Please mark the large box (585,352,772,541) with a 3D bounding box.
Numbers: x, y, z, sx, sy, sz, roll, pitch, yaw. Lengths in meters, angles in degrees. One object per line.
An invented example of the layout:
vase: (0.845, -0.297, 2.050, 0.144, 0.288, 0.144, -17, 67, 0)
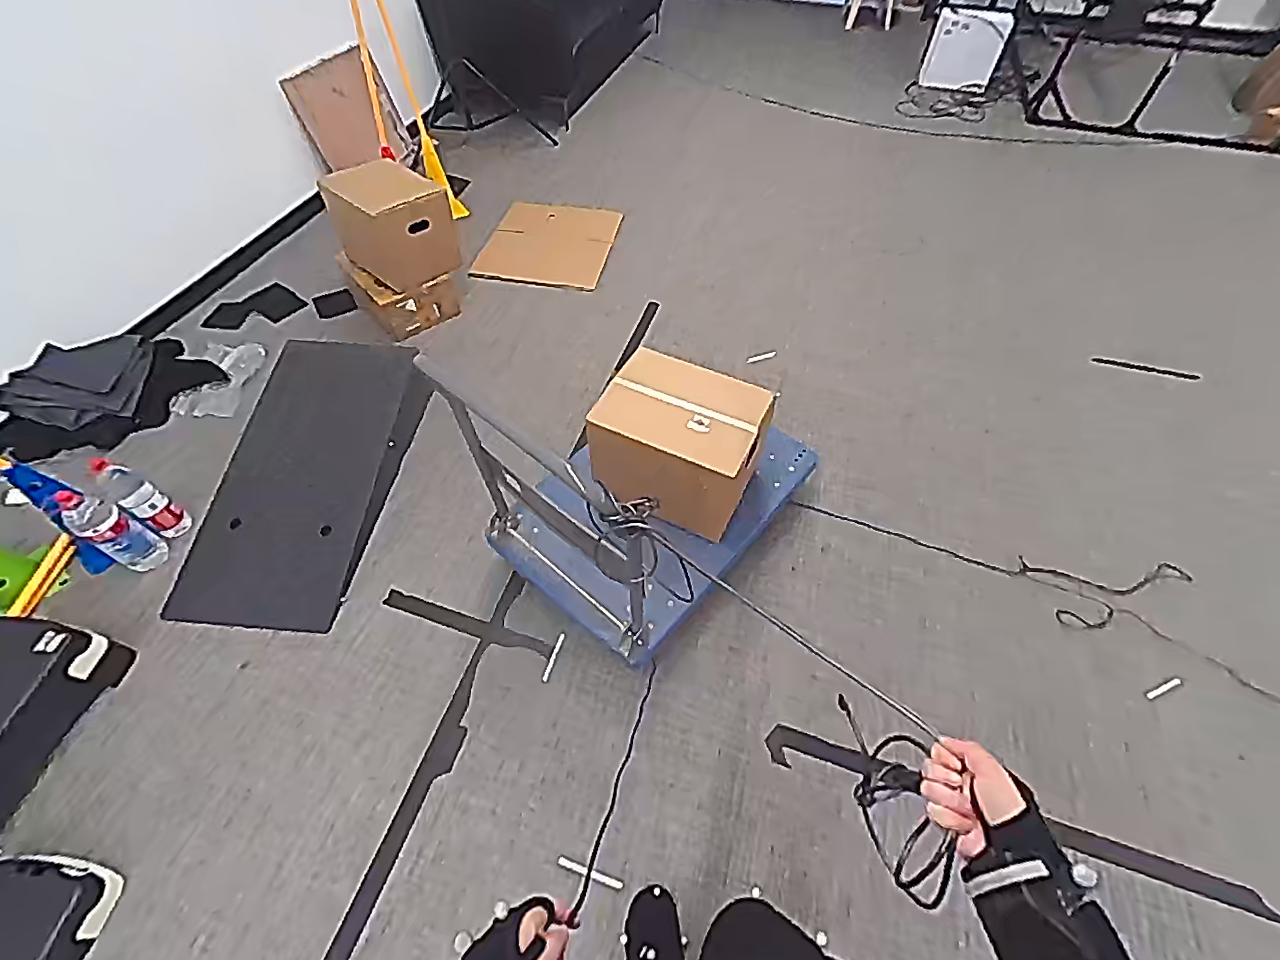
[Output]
large box: (0.098, -0.092, 1.496, 0.408, 0.320, 0.320, 22, 57, 14)
